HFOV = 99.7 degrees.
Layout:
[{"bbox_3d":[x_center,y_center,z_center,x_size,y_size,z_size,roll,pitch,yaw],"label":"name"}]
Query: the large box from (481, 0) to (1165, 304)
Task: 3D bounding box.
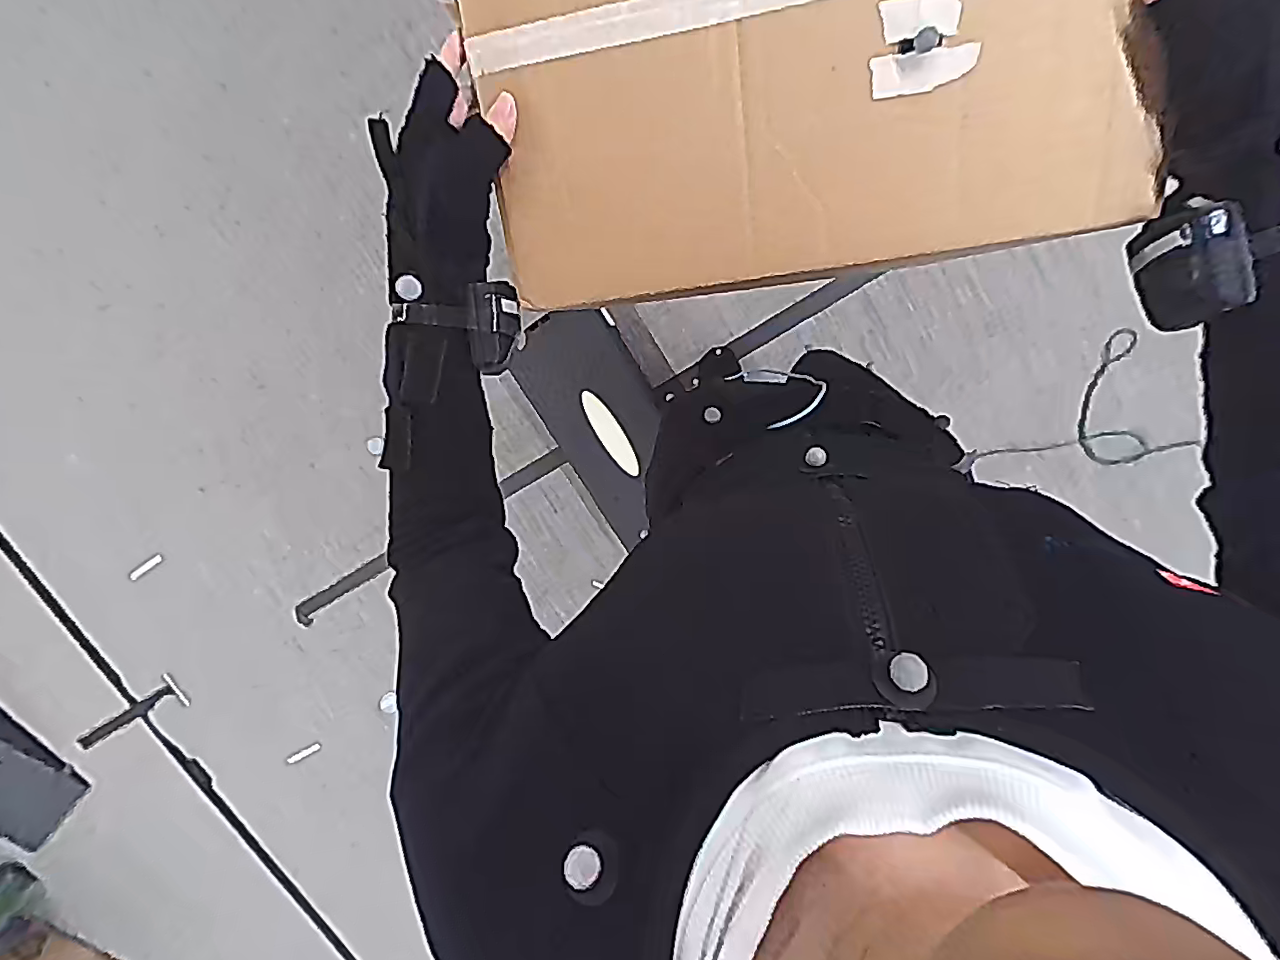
[{"bbox_3d":[0.113,-0.341,0.466,0.408,0.320,0.320,-5,107,9],"label":"large box"}]
